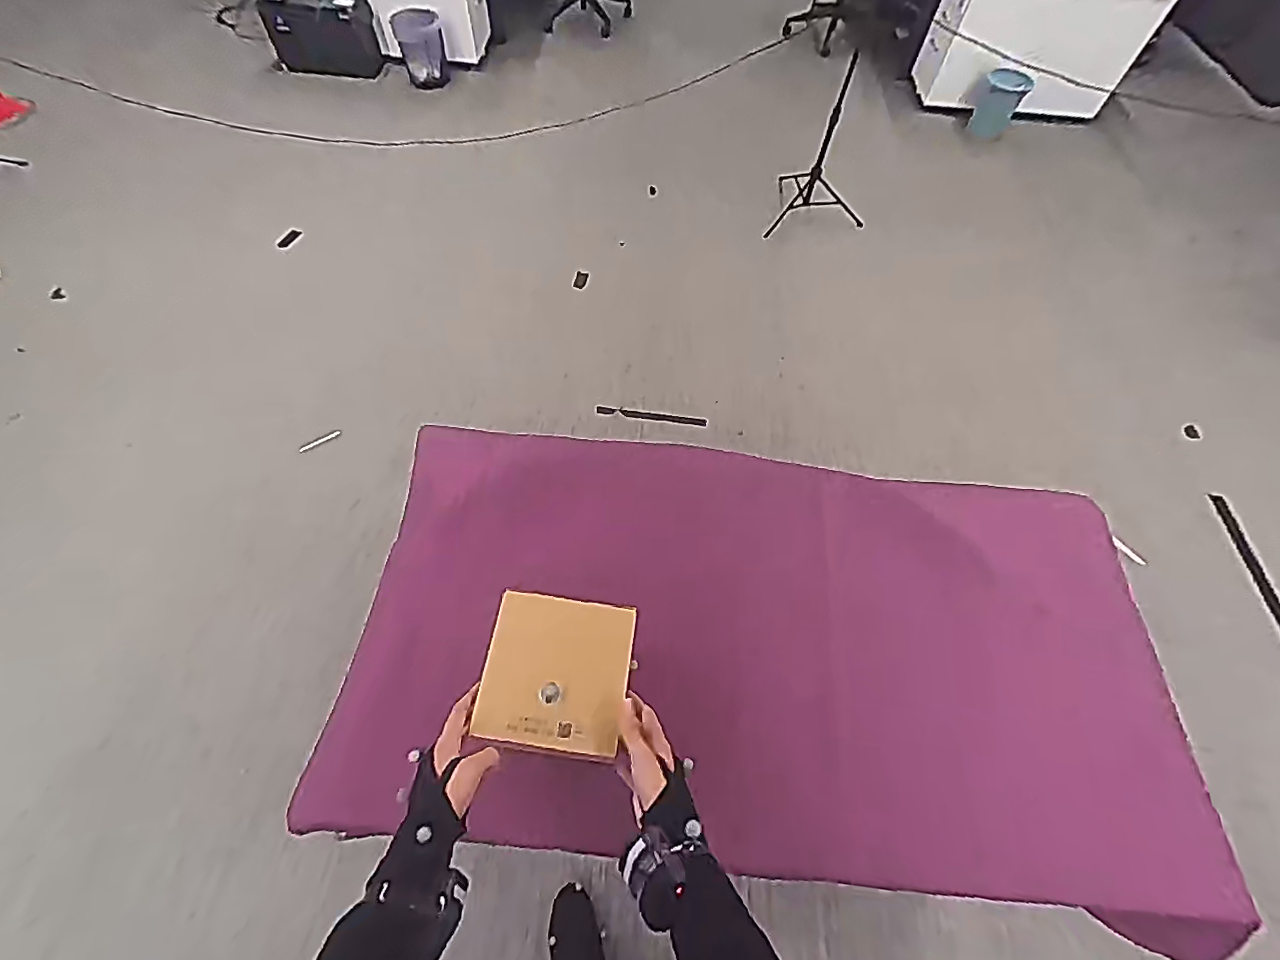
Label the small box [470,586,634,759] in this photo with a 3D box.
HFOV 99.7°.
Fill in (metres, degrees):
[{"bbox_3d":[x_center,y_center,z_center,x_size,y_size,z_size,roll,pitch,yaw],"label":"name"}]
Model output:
[{"bbox_3d":[-0.104,0.254,0.692,0.168,0.179,0.176,8,60,-1],"label":"small box"}]
